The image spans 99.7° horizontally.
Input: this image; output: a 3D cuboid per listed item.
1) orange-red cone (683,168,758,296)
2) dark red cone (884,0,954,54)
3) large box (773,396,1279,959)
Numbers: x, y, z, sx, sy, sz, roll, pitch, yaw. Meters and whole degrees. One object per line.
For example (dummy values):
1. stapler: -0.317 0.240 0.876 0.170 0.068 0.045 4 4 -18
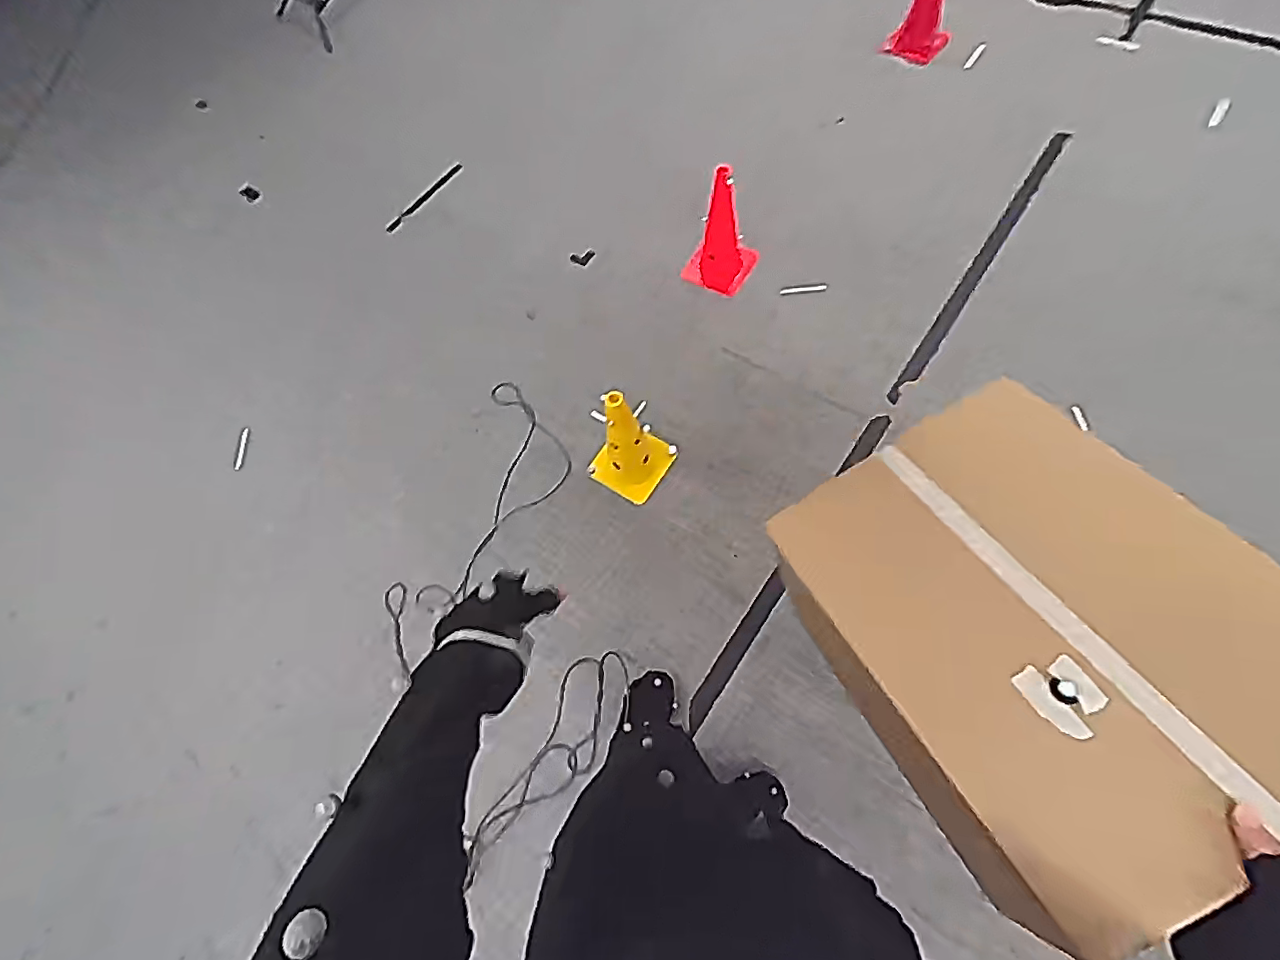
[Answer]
1. orange-red cone: 0.243 -0.767 1.626 0.198 0.360 0.199 29 76 18
2. dark red cone: 1.042 -1.756 1.901 0.201 0.394 0.202 38 77 18
3. large box: 0.401 0.191 0.599 0.320 0.320 0.408 -31 52 2
